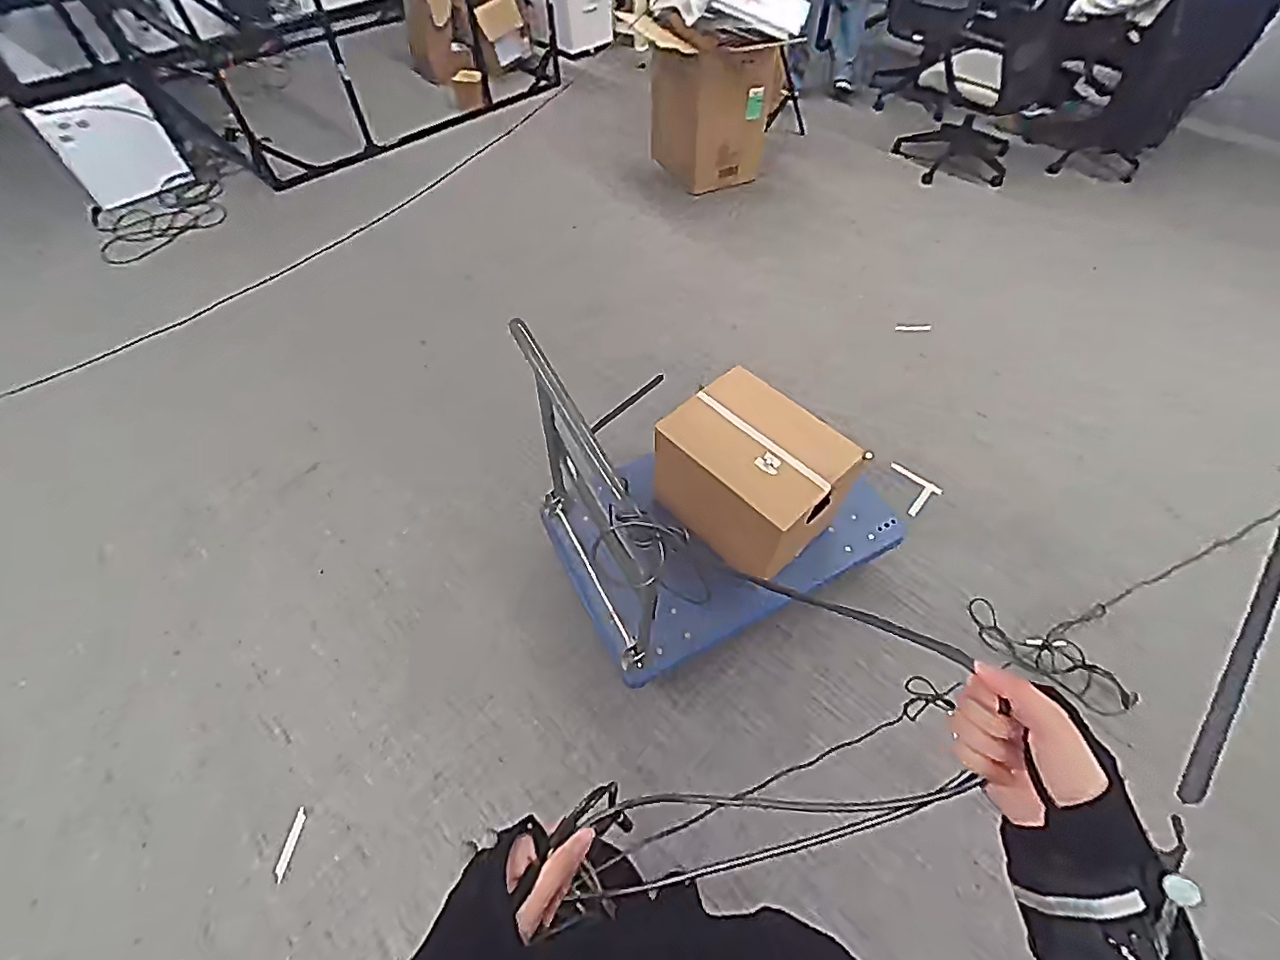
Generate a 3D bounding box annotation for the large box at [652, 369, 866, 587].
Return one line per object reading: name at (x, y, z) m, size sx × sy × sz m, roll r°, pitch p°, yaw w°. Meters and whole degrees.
large box at (0.276, -0.007, 1.393) m, size 0.320 × 0.320 × 0.408 m, roll -38°, pitch 64°, yaw -22°
